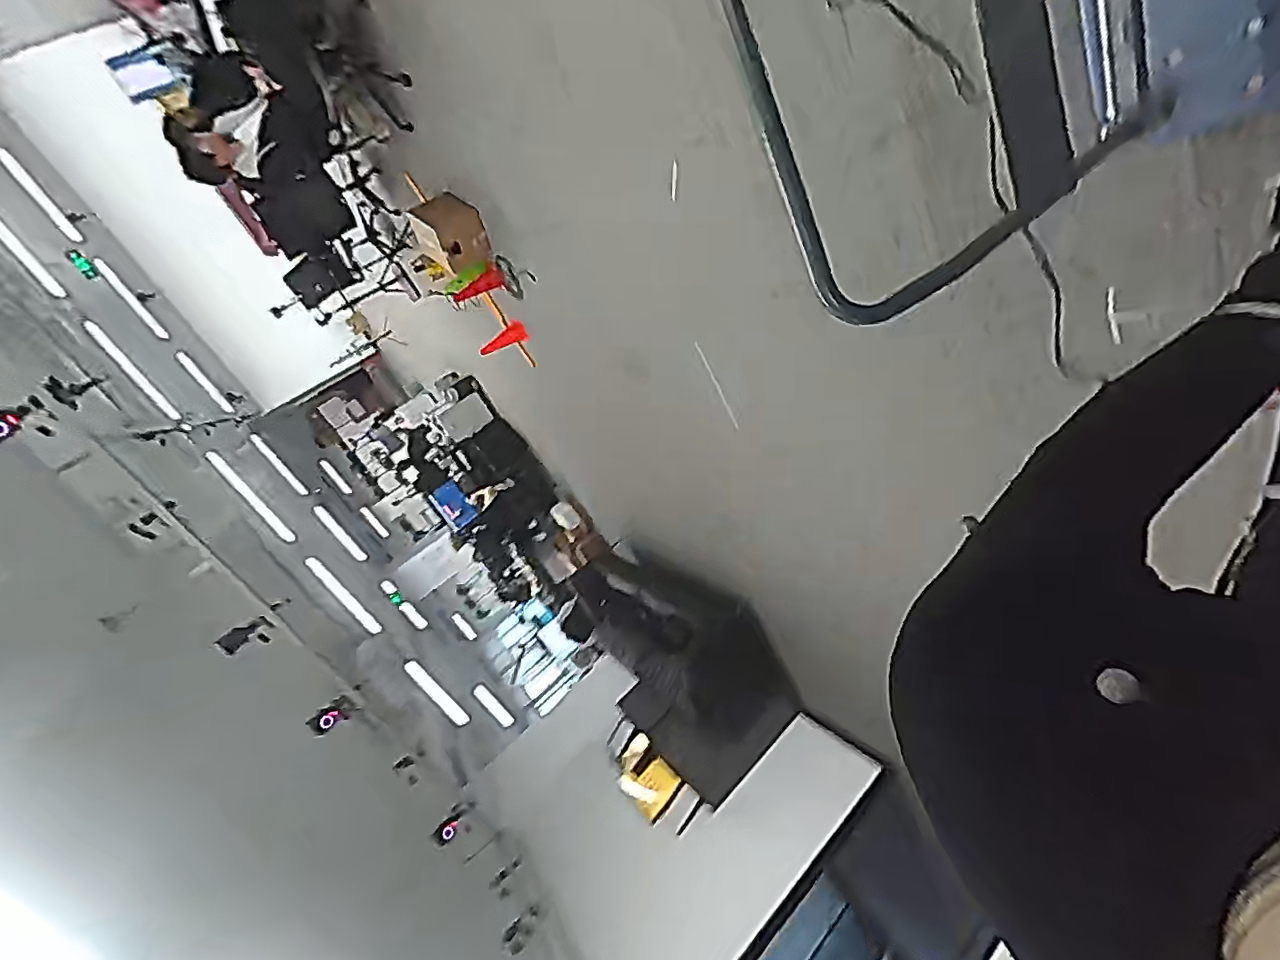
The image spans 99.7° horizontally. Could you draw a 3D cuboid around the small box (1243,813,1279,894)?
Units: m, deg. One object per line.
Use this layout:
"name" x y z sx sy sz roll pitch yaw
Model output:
"small box" 1.695 0.967 1.344 0.179 0.176 0.168 41 155 26
